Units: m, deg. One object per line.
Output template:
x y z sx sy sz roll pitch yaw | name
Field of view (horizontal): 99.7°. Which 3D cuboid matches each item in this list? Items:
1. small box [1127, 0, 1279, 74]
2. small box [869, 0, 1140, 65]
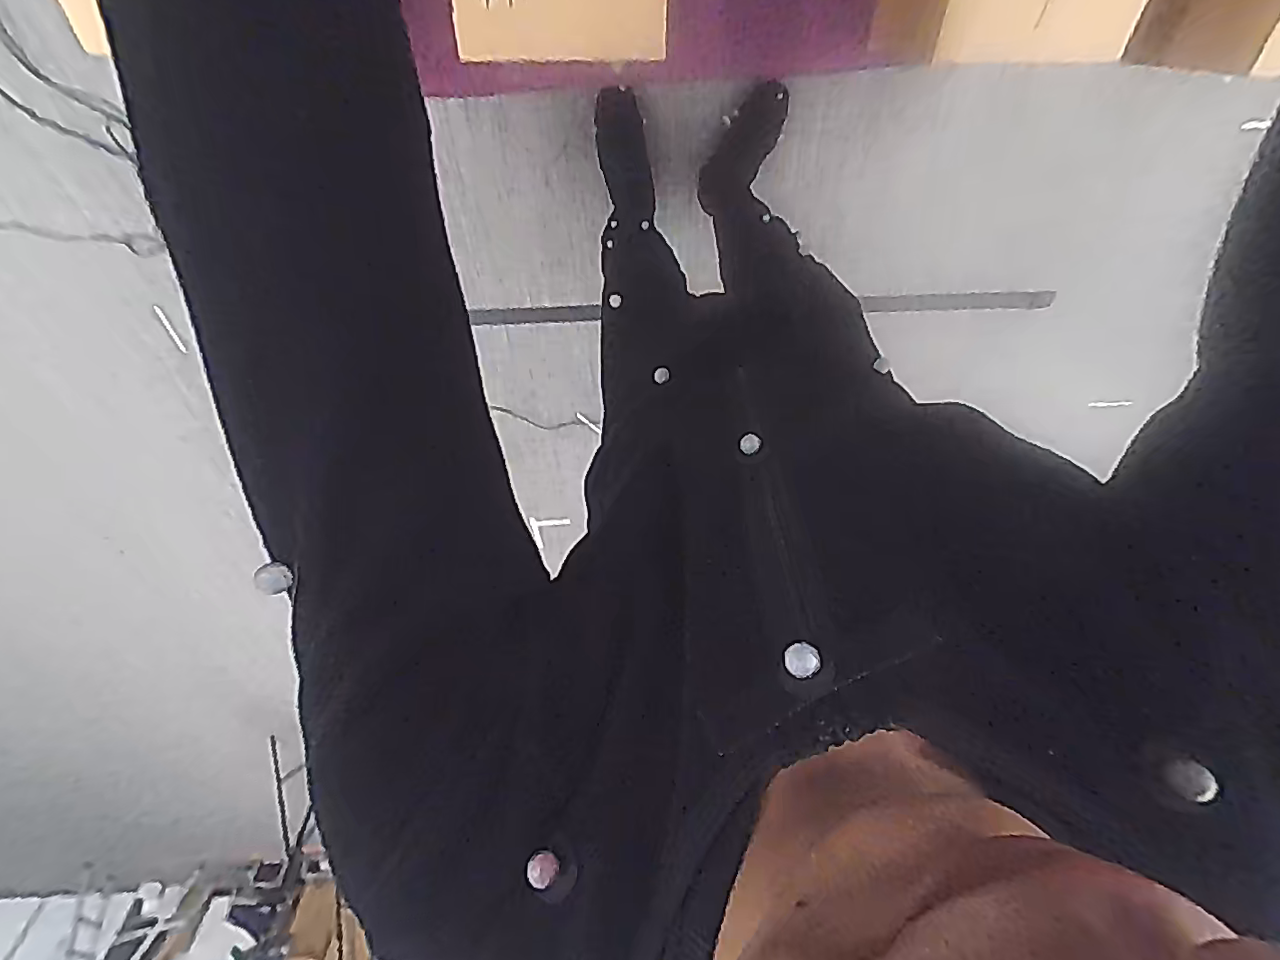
0.602 -0.476 0.479 0.168 0.176 0.179 -2 131 1 | small box
0.322 -0.476 0.469 0.168 0.176 0.179 -1 132 -1 | small box
